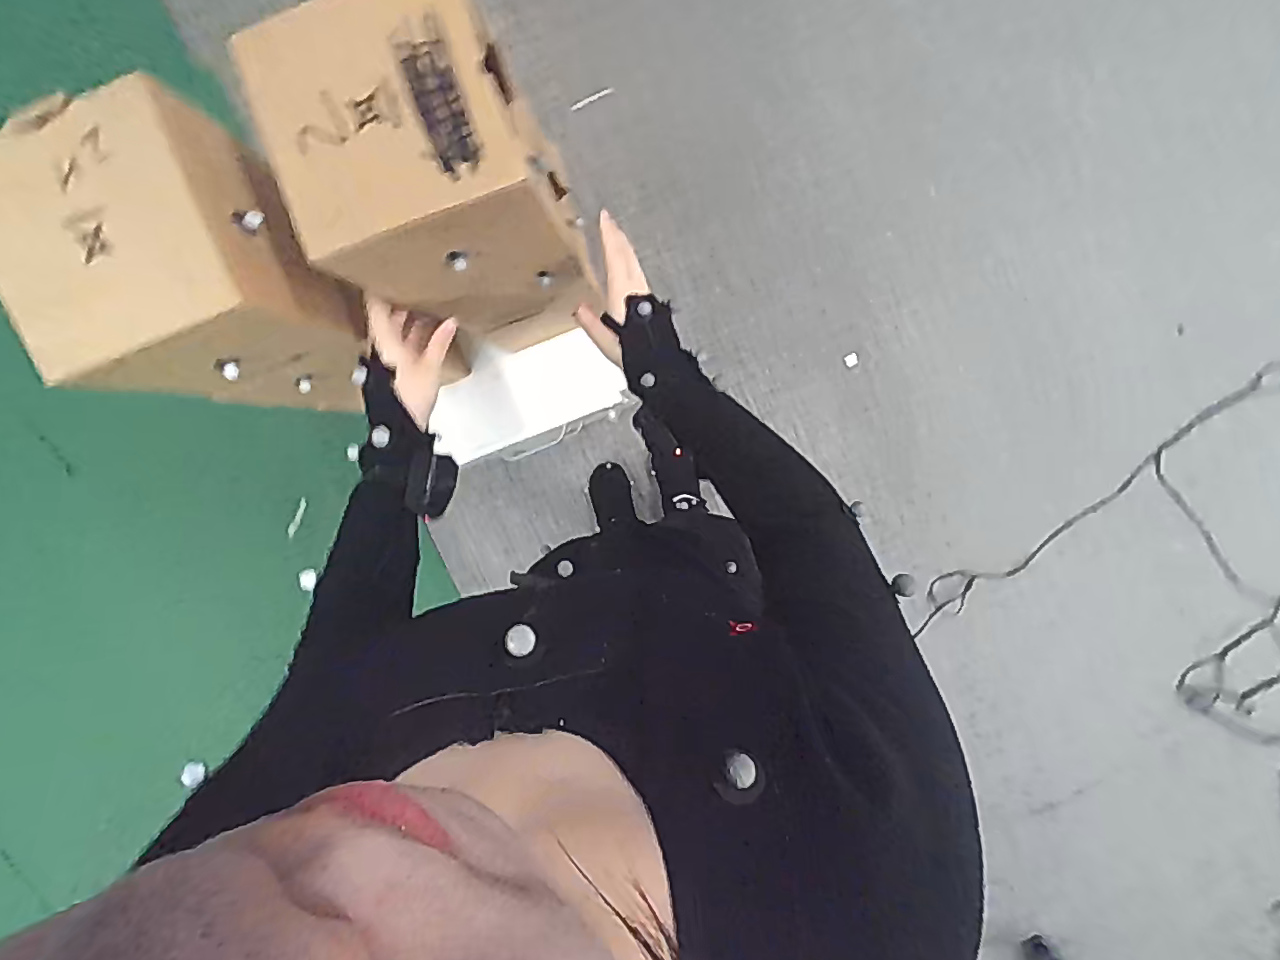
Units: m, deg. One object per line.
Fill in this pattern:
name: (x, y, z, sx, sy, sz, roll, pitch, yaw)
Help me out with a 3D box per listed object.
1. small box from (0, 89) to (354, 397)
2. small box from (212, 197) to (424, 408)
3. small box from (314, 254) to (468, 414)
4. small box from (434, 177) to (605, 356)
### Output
small box: (-0.394, -0.180, 0.476, 0.168, 0.176, 0.179, -22, 95, 2)
small box: (-0.394, -0.190, 0.640, 0.179, 0.176, 0.168, -22, 95, 2)
small box: (-0.387, -0.203, 0.805, 0.179, 0.176, 0.168, -21, 95, 2)
small box: (-0.160, -0.295, 0.789, 0.179, 0.176, 0.168, -22, 94, 6)
